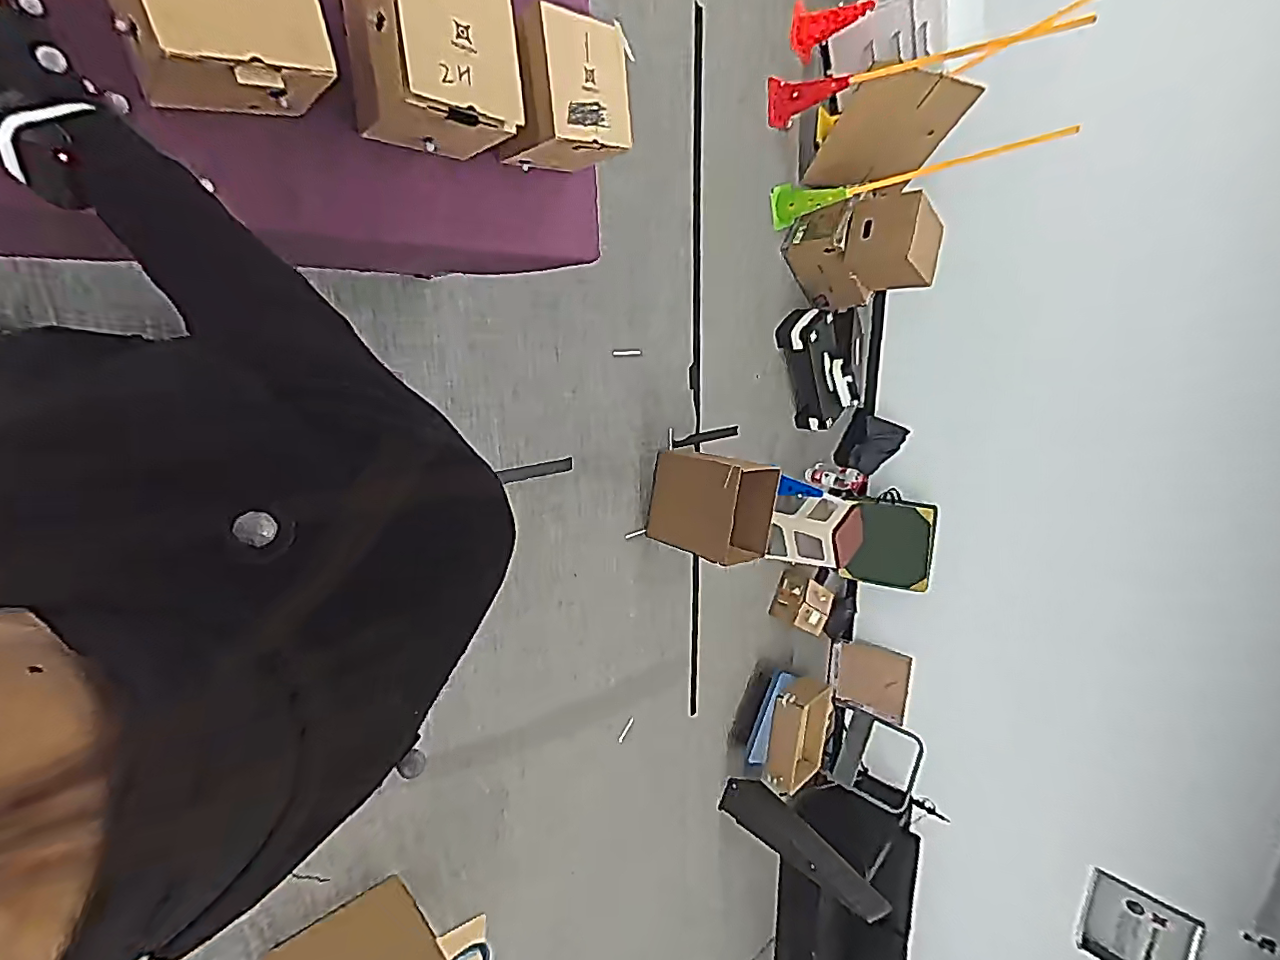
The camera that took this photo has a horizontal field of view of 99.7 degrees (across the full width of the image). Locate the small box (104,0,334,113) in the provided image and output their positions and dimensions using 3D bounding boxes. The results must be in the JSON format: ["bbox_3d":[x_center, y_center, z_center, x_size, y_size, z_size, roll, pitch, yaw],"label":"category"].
[{"bbox_3d":[-0.472,-0.529,0.593,0.168,0.176,0.179,-27,118,-40],"label":"small box"}]

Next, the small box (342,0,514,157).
[{"bbox_3d":[-0.297,-0.585,0.758,0.168,0.176,0.179,-15,111,-42],"label":"small box"}]

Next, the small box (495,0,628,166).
[{"bbox_3d":[-0.141,-0.642,0.903,0.168,0.176,0.179,-22,114,-40],"label":"small box"}]
